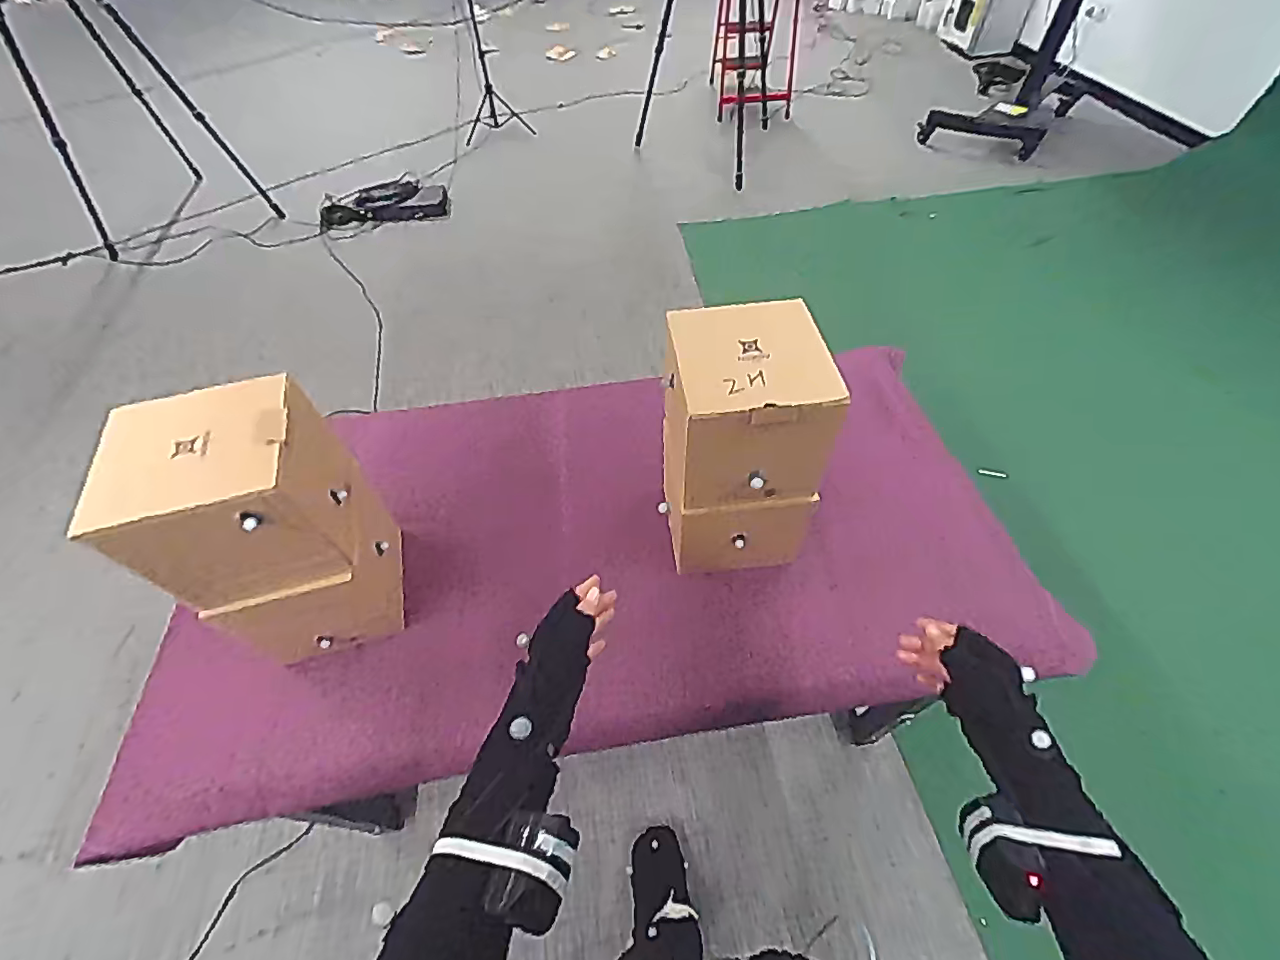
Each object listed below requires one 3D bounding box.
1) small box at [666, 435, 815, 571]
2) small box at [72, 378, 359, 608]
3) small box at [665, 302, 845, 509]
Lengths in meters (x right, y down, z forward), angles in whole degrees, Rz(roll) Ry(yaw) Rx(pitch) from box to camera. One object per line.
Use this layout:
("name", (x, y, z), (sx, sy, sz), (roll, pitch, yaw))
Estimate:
("small box", (0.129, 0.017, 0.775), (0.179, 0.176, 0.168), (-3, 51, 0))
("small box", (-0.439, 0.019, 0.598), (0.179, 0.176, 0.168), (-15, 55, -9))
("small box", (0.120, -0.087, 0.650), (0.168, 0.176, 0.179), (-6, 53, -1))
